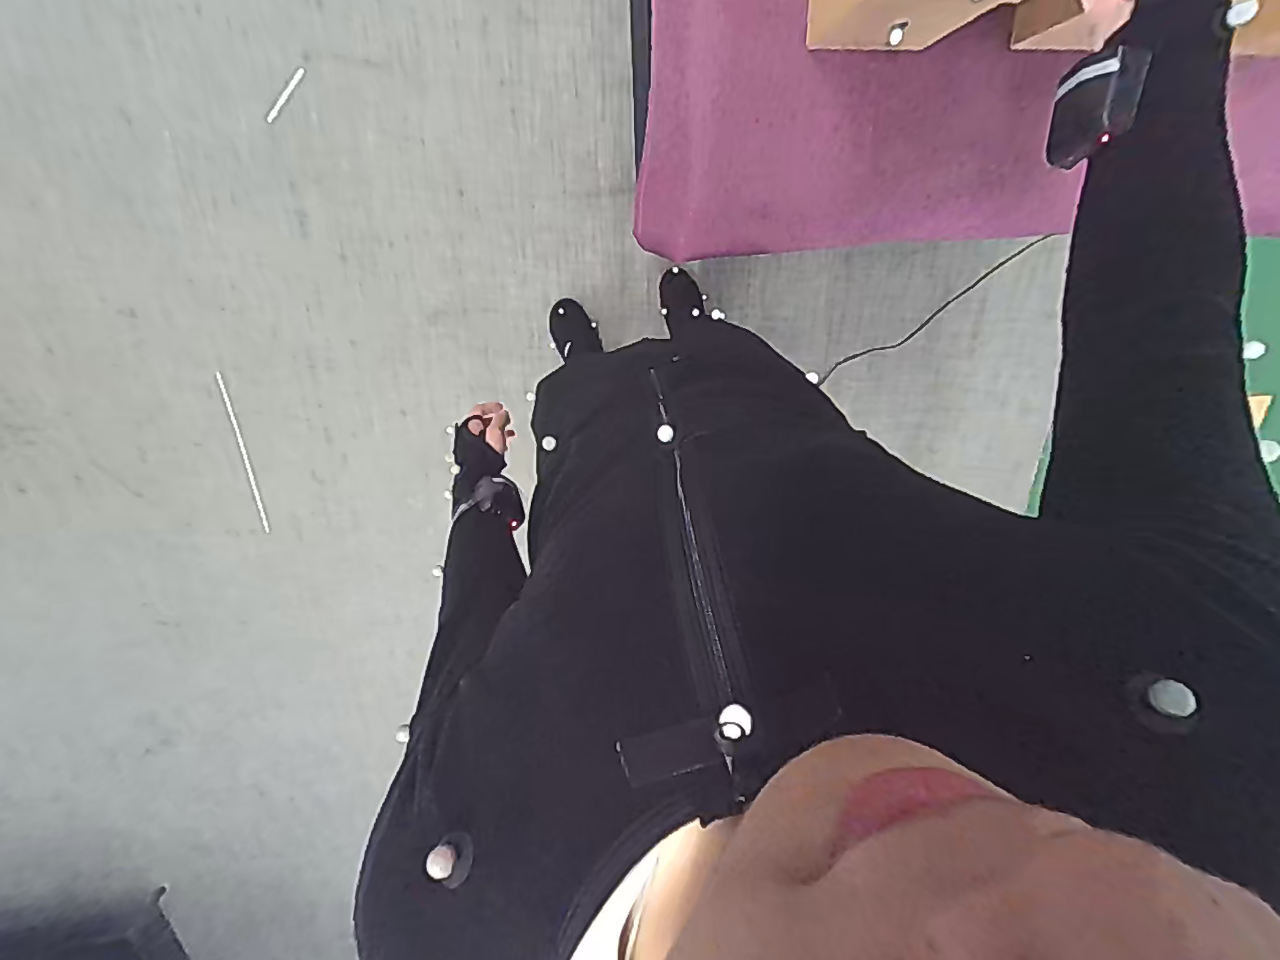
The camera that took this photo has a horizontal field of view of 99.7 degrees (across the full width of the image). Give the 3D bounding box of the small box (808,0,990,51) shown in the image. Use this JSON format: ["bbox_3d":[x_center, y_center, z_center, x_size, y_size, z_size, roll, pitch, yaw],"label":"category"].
[{"bbox_3d":[0.301,-0.608,0.603,0.168,0.176,0.179,-5,113,-6],"label":"small box"}]

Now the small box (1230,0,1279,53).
[{"bbox_3d":[0.908,-0.653,0.666,0.168,0.176,0.179,-4,112,-6],"label":"small box"}]

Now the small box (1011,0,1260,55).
[{"bbox_3d":[0.591,-0.627,0.634,0.179,0.176,0.168,-5,112,-5],"label":"small box"}]

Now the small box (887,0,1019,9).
[{"bbox_3d":[0.323,-0.542,0.454,0.168,0.176,0.179,-4,113,-5],"label":"small box"}]
